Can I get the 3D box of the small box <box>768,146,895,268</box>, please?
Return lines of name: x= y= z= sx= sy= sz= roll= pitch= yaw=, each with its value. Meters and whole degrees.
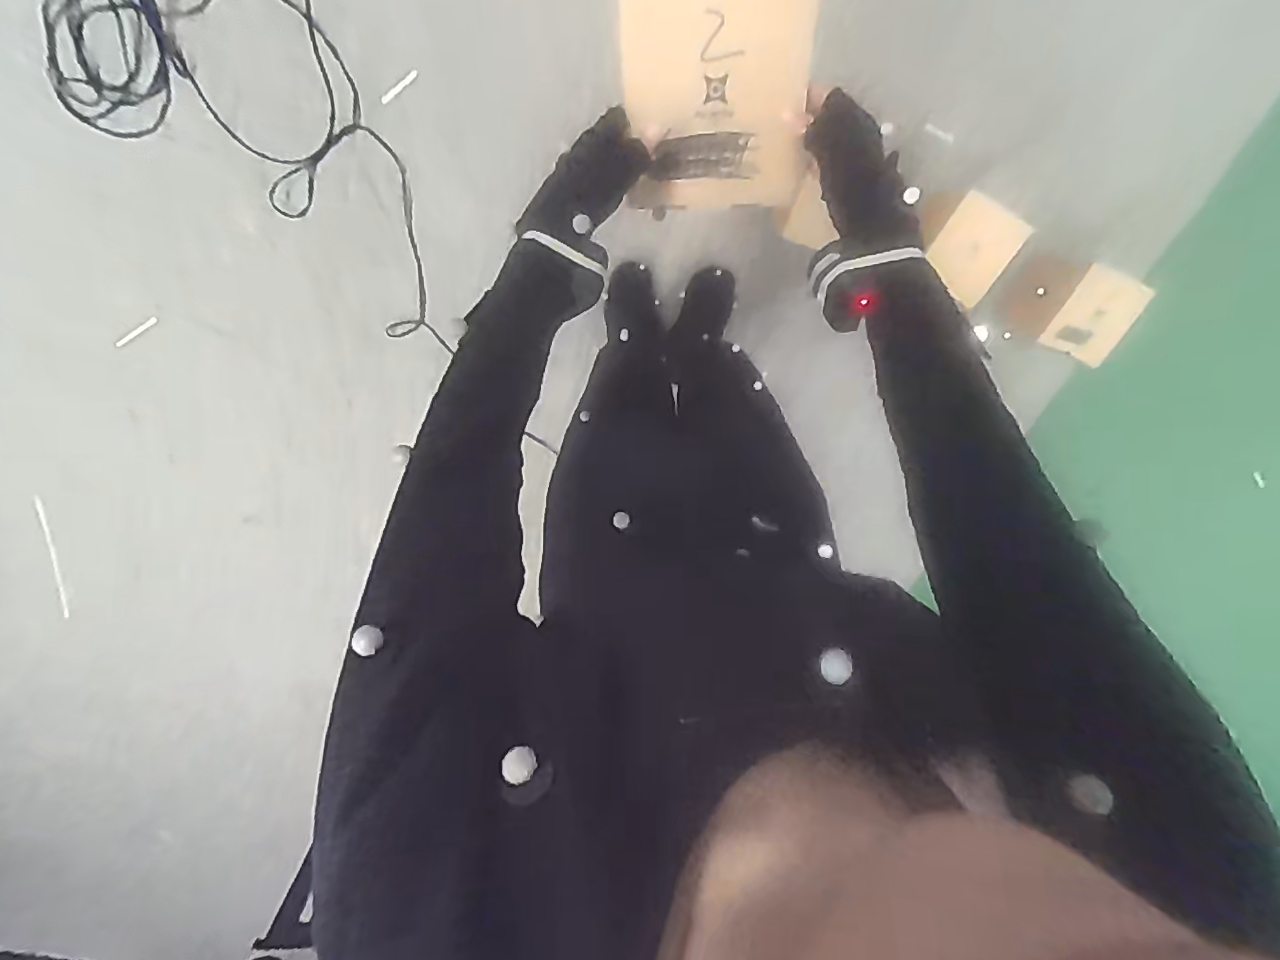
small box: x=0.376 y=-0.556 z=1.105 sx=0.168 sy=0.176 sz=0.179 roll=15 pitch=119 yaw=-6

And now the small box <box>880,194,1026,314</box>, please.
small box: x=0.648 y=-0.482 z=1.146 sx=0.168 sy=0.176 sz=0.179 roll=23 pitch=116 yaw=-12

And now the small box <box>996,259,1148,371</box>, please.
small box: x=0.942 y=-0.372 z=1.206 sx=0.168 sy=0.176 sz=0.179 roll=19 pitch=116 yaw=-10
